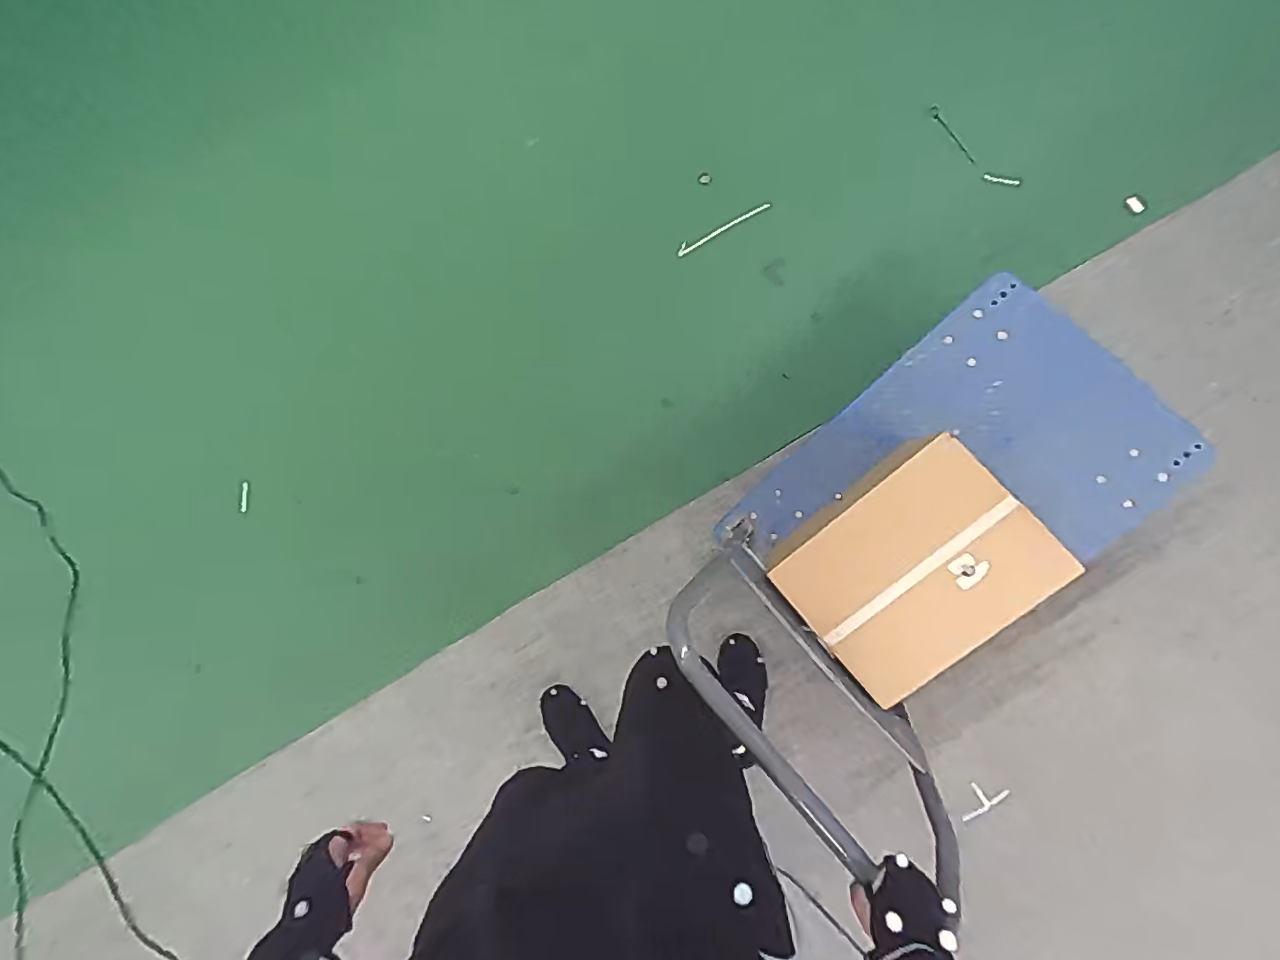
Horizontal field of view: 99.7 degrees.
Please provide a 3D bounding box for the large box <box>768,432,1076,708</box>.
[{"bbox_3d":[0.512,0.164,1.086,0.408,0.320,0.320,-42,81,10],"label":"large box"}]
